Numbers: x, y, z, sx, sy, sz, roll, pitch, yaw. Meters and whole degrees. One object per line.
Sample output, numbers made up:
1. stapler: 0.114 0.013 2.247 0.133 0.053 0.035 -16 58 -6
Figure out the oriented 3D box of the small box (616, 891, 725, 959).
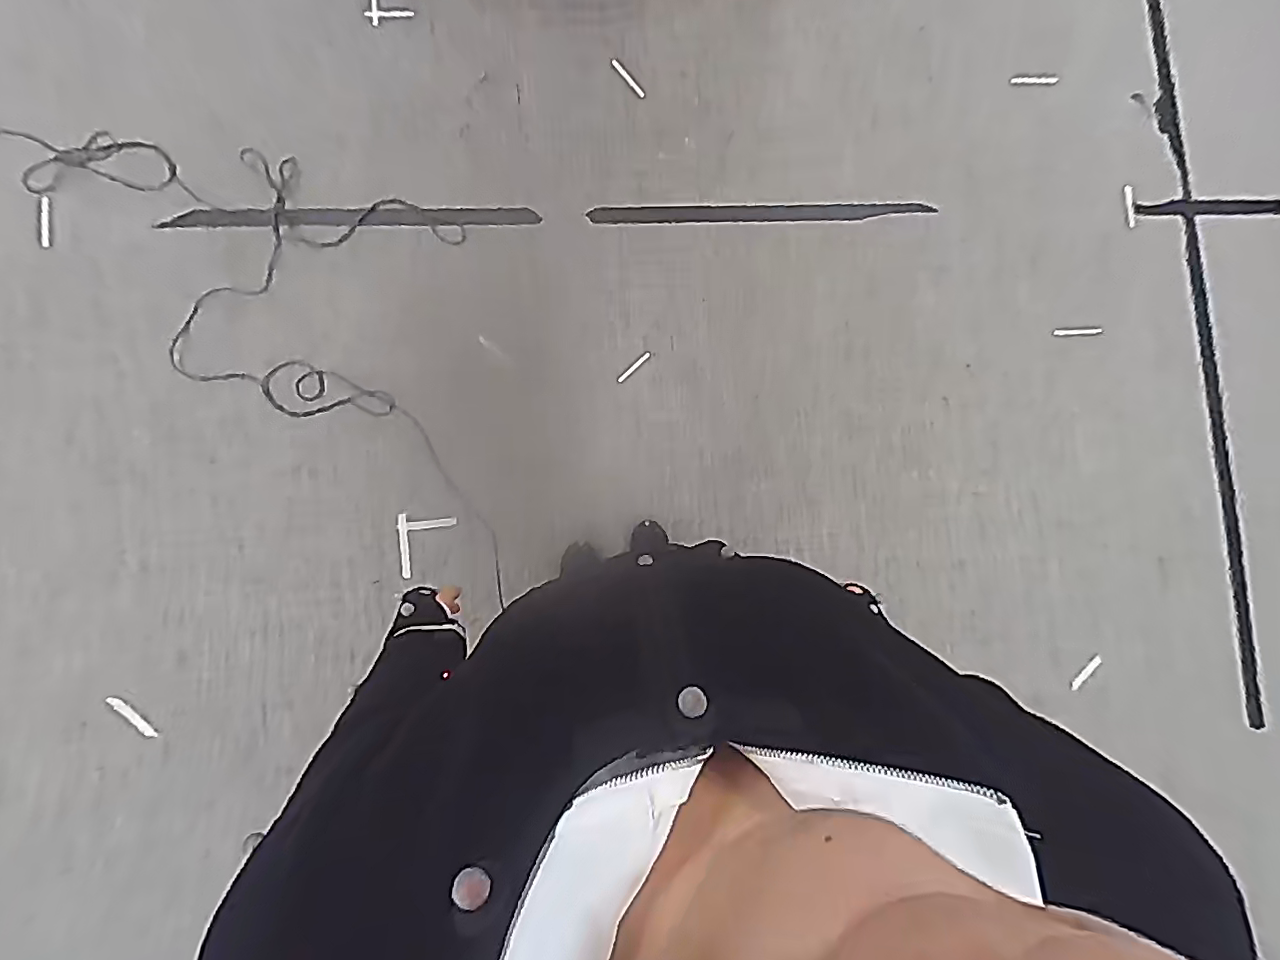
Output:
1. small box: 0.050 0.831 0.893 0.168 0.176 0.179 -3 84 -6
